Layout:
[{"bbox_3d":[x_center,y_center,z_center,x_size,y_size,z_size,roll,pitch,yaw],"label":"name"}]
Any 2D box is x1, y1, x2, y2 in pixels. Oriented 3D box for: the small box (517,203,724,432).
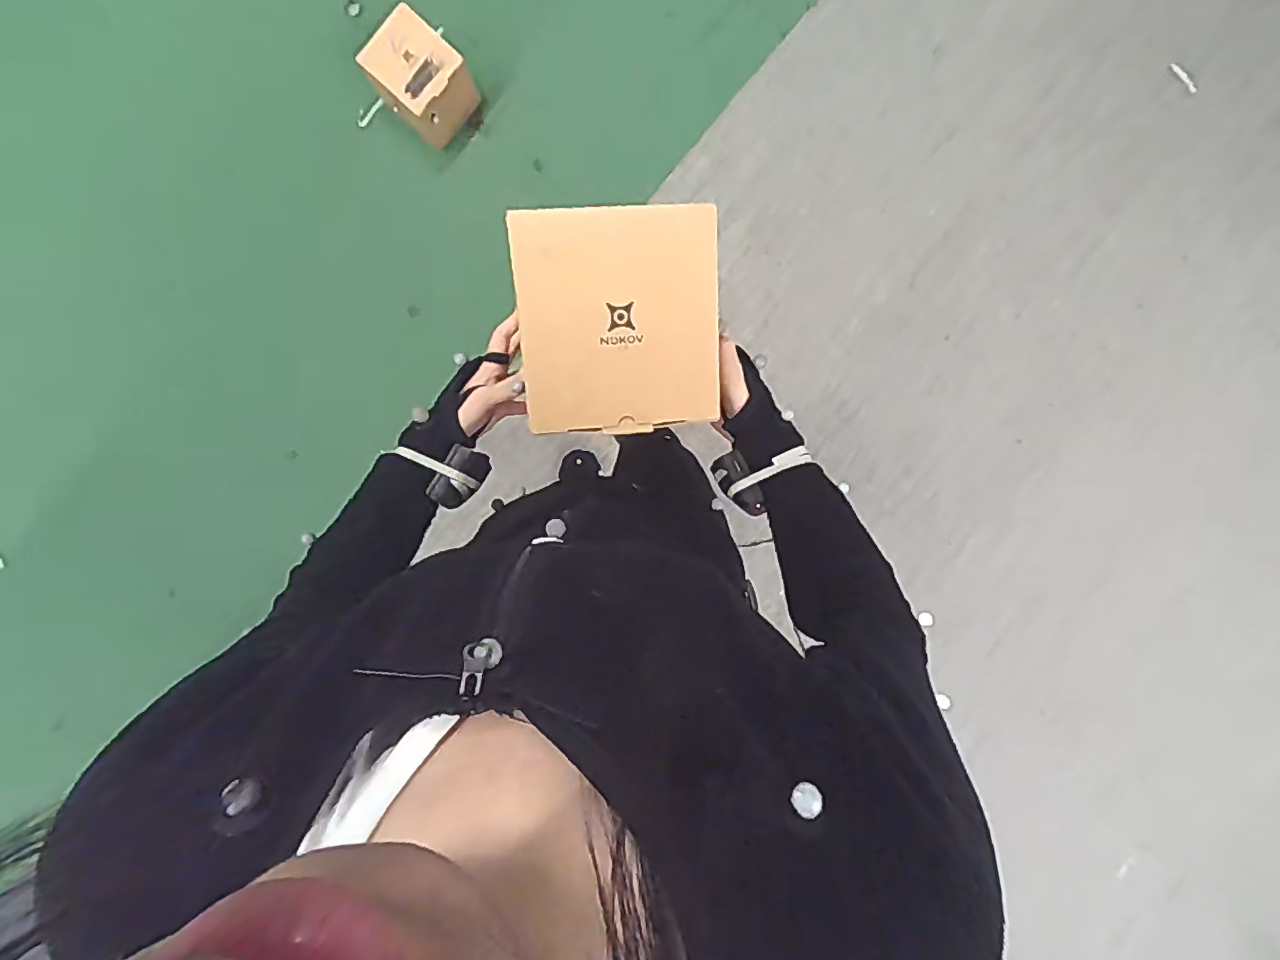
[{"bbox_3d":[-0.022,-0.152,0.525,0.168,0.176,0.179,-6,107,-5],"label":"small box"}]
